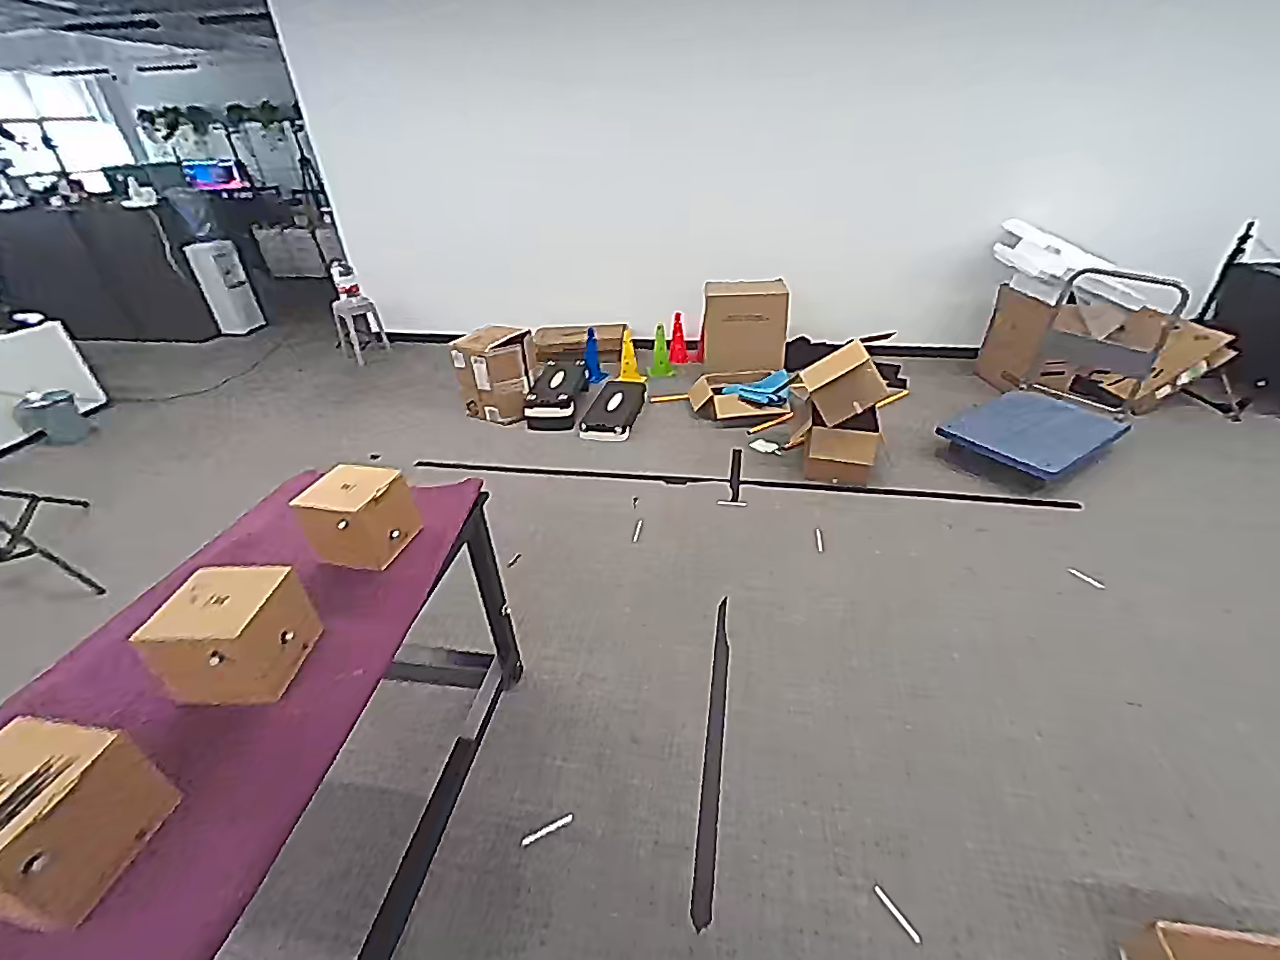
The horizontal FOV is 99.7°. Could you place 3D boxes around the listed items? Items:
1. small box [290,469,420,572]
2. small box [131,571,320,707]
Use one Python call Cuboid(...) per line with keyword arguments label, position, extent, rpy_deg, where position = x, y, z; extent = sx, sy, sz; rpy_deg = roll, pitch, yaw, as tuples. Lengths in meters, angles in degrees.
Cuboid(label="small box", position=(-0.640, 0.092, 1.235), extent=(0.179, 0.176, 0.168), rpy_deg=(5, 34, 13))
Cuboid(label="small box", position=(-0.708, 0.279, 0.952), extent=(0.179, 0.176, 0.168), rpy_deg=(-2, 33, 2))
